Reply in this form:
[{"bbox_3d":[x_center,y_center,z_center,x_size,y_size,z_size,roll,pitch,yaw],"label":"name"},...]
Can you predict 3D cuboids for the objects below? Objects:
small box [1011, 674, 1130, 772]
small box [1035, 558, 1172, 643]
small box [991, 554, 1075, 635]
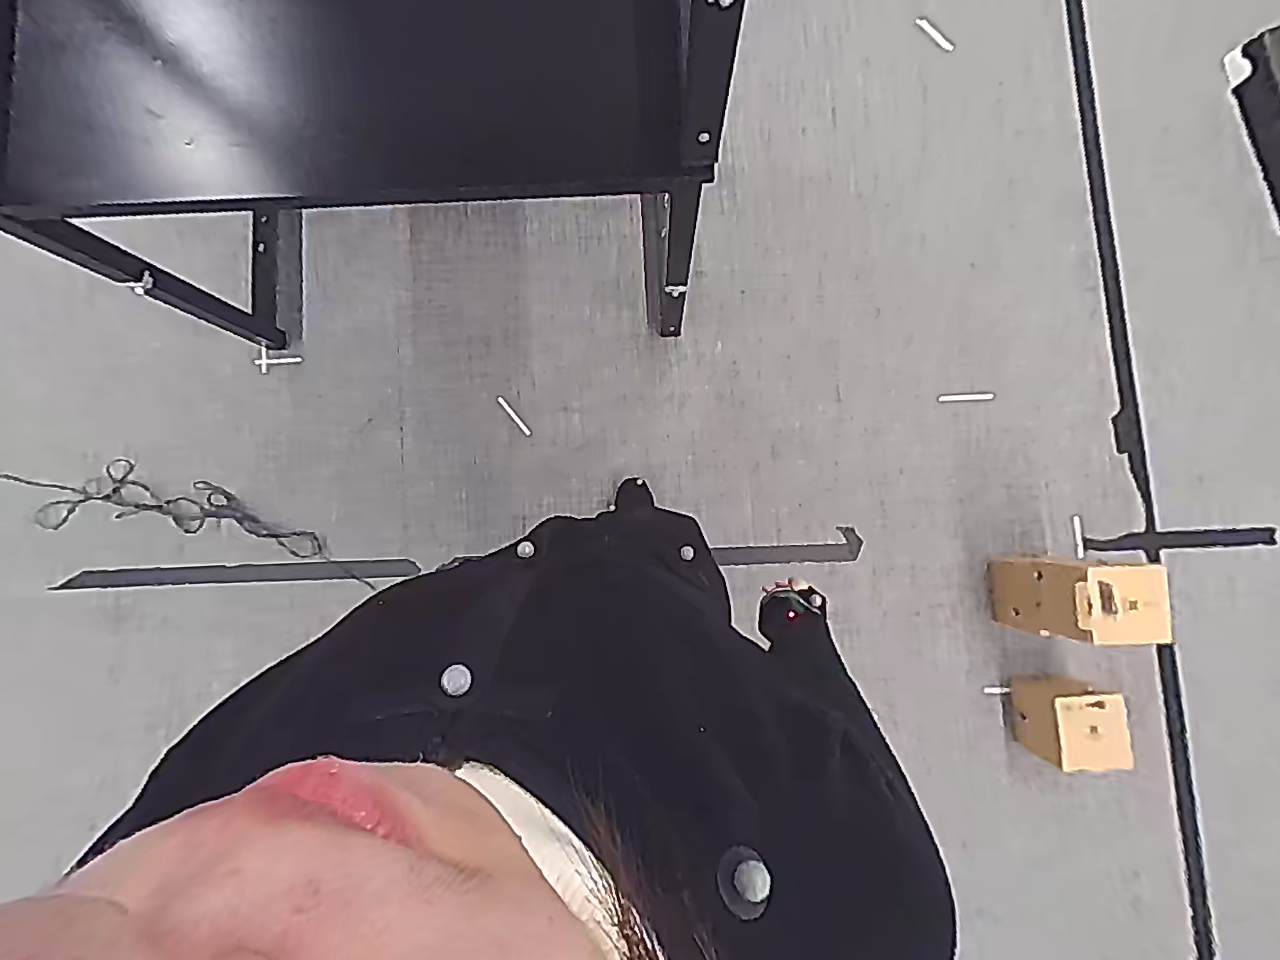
[{"bbox_3d":[1.073,0.605,1.361,0.168,0.176,0.179,-3,87,0],"label":"small box"},{"bbox_3d":[1.030,0.268,1.221,0.179,0.176,0.168,-1,87,-1],"label":"small box"},{"bbox_3d":[1.036,0.288,1.383,0.168,0.176,0.179,-4,86,0],"label":"small box"}]
